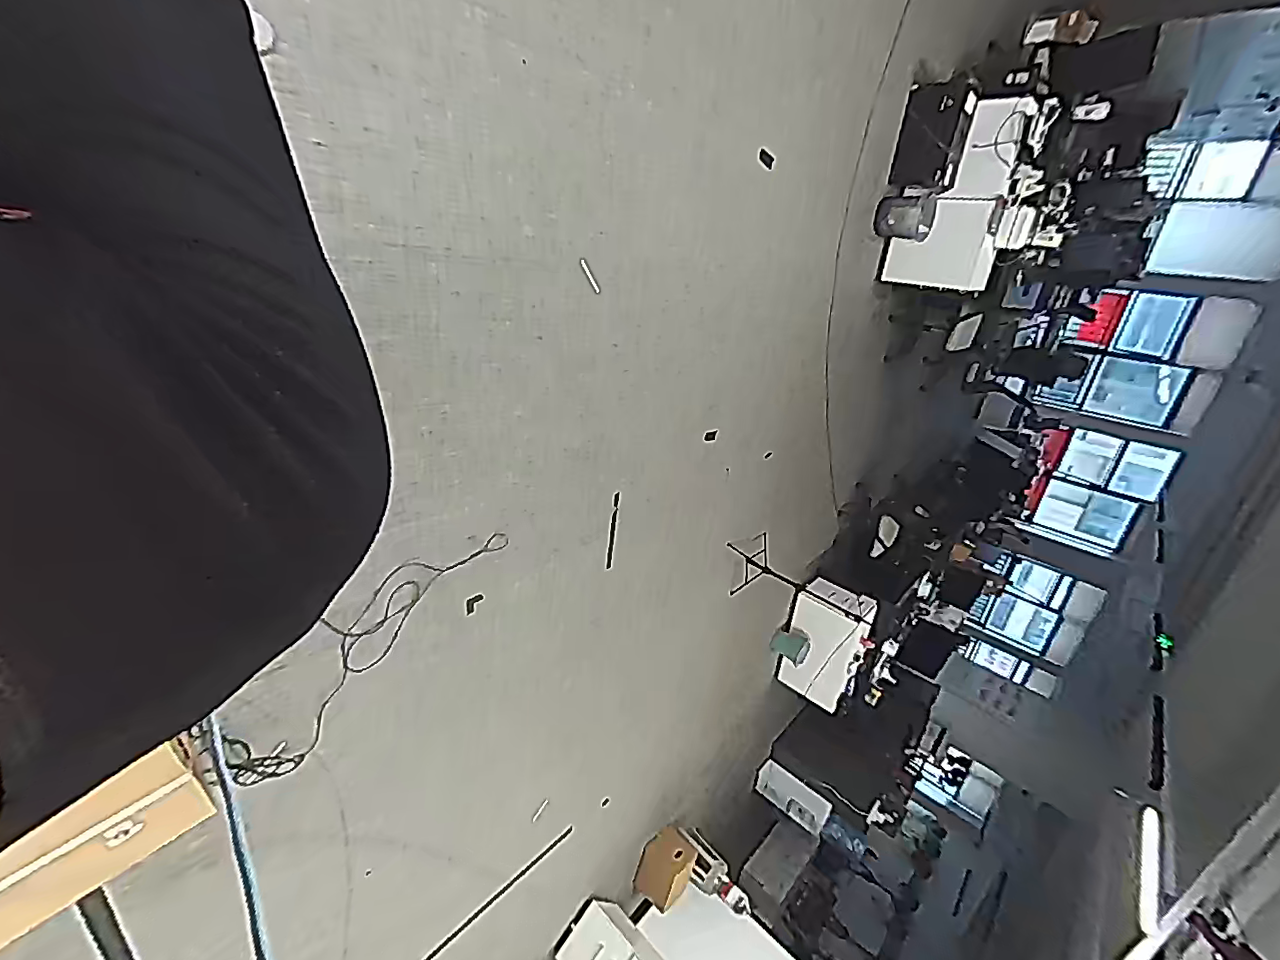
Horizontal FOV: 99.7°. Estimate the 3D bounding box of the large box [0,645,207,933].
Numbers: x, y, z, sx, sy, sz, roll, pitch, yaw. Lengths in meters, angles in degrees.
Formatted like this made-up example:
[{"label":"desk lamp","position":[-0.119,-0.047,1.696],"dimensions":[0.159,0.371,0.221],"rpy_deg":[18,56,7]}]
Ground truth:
[{"label":"large box","position":[-1.241,0.633,1.133],"dimensions":[0.408,0.320,0.320],"rpy_deg":[-28,130,-40]}]
